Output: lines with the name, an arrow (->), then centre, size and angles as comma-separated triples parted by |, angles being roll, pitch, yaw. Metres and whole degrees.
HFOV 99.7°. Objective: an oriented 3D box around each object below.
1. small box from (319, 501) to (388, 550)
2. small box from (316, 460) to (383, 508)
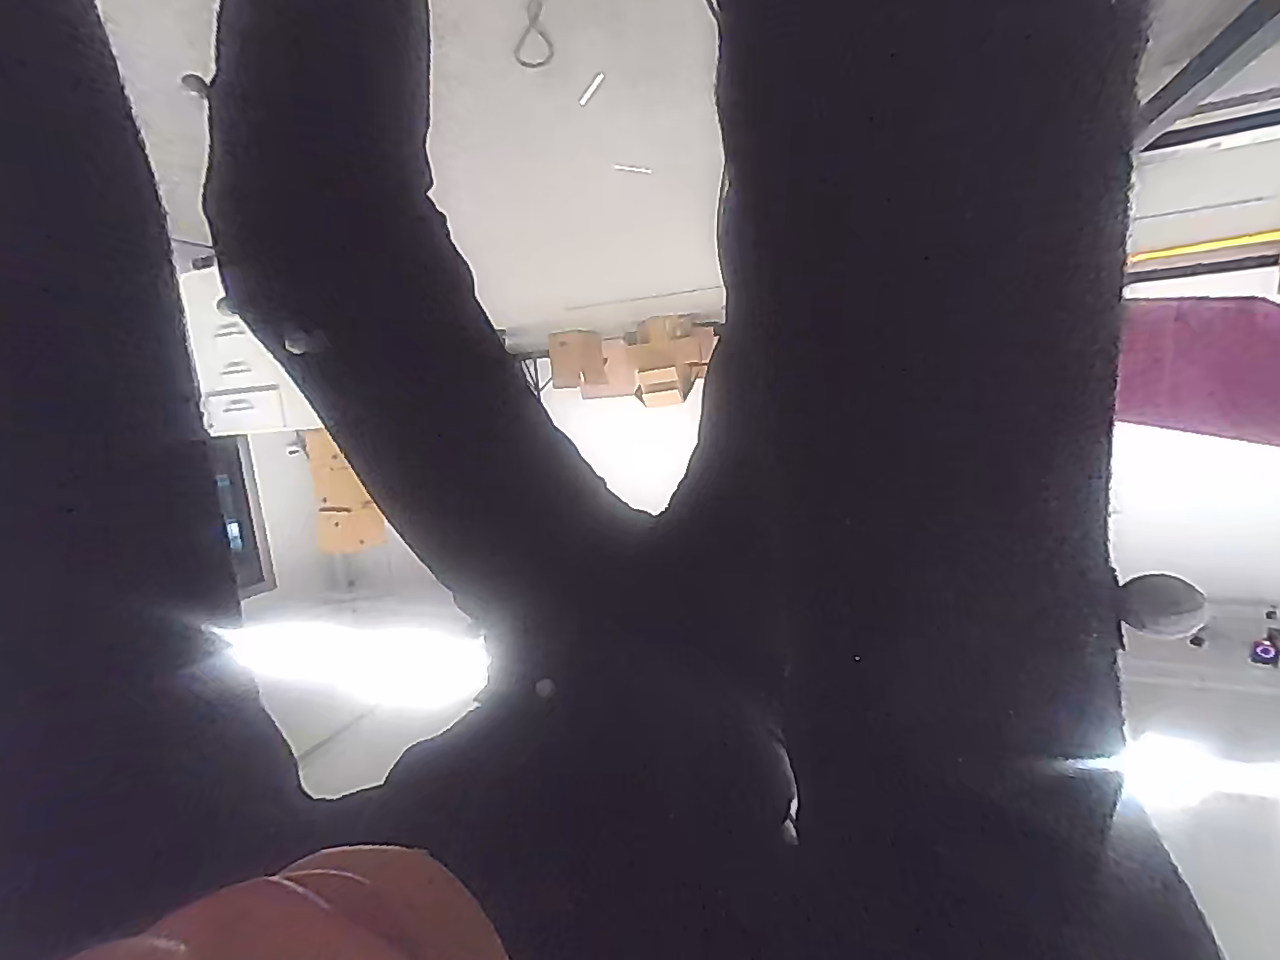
small box -> -1.154, 0.174, 2.181 | 0.168, 0.176, 0.179 | 0, -170, 18
small box -> -1.165, 0.012, 2.163 | 0.179, 0.176, 0.168 | -1, -169, 17
